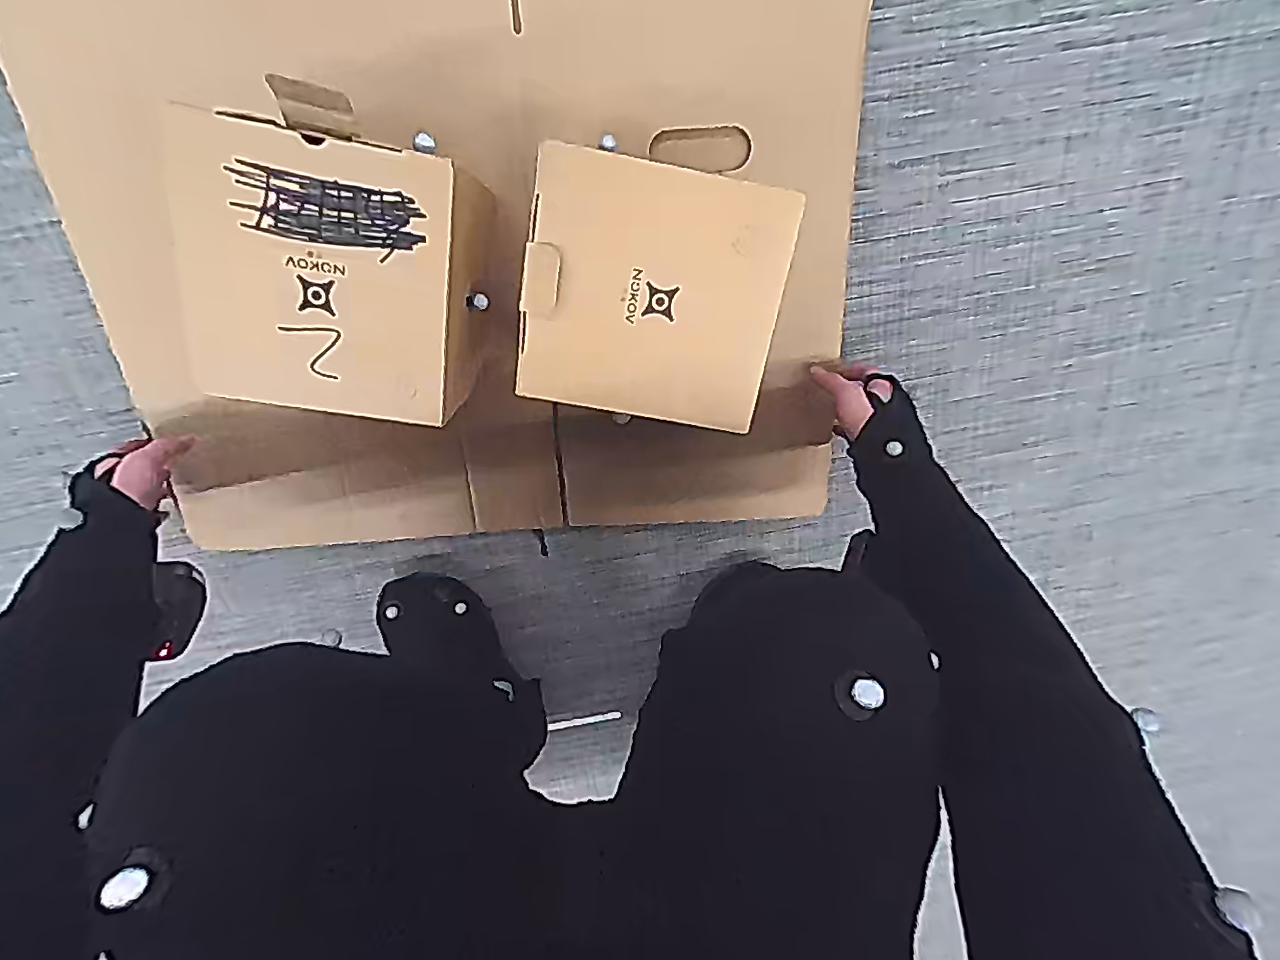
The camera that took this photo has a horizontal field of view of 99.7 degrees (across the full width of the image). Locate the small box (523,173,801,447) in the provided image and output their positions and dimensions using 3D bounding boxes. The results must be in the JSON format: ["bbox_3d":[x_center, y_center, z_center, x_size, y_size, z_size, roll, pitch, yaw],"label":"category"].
[{"bbox_3d":[0.010,-0.141,0.458,0.179,0.176,0.168,9,111,-4],"label":"small box"}]
